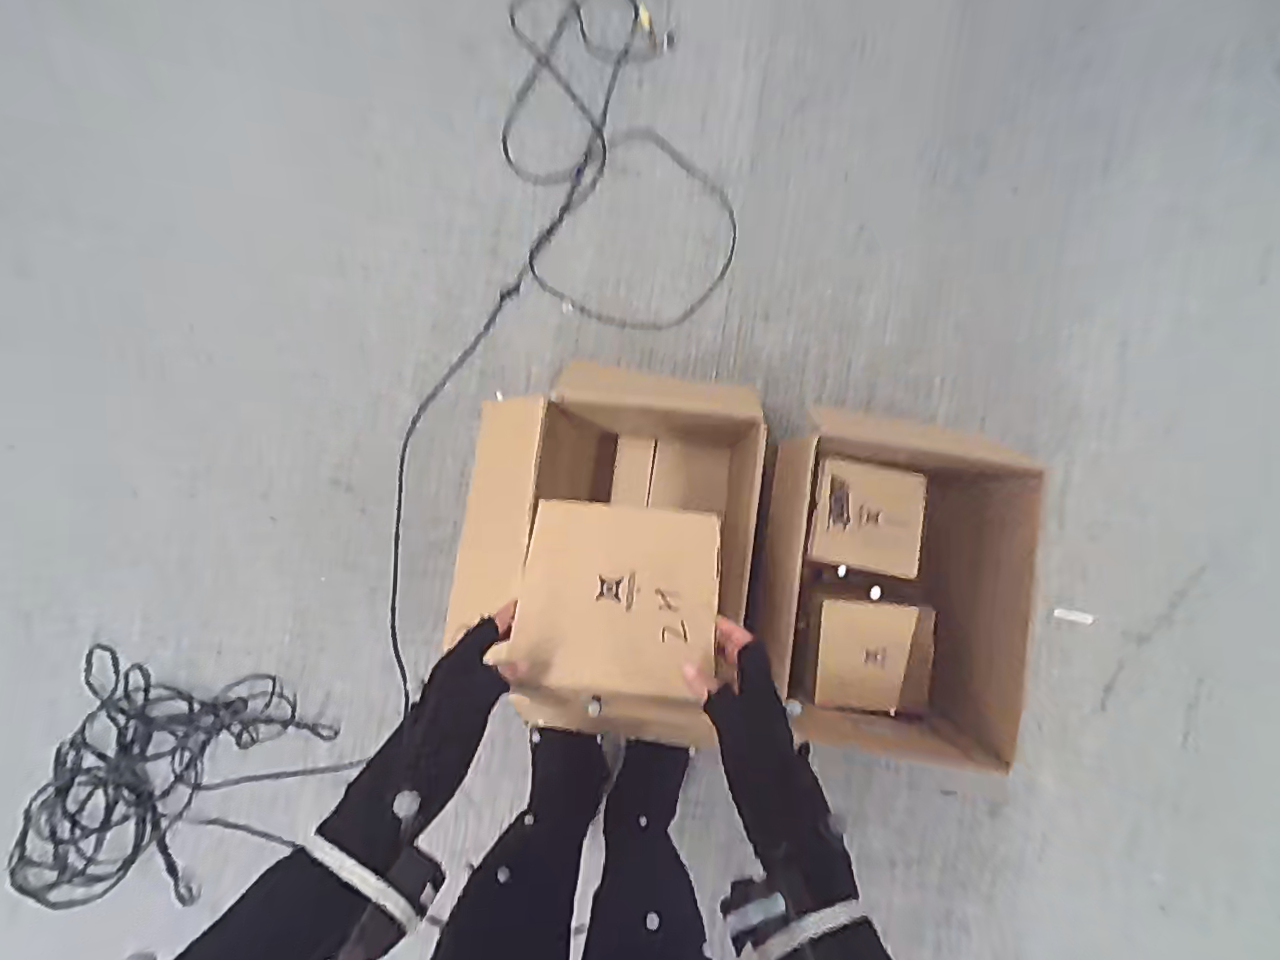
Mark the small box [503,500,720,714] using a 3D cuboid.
[{"bbox_3d":[-0.019,0.135,0.546,0.179,0.176,0.168,5,62,2],"label":"small box"}]
